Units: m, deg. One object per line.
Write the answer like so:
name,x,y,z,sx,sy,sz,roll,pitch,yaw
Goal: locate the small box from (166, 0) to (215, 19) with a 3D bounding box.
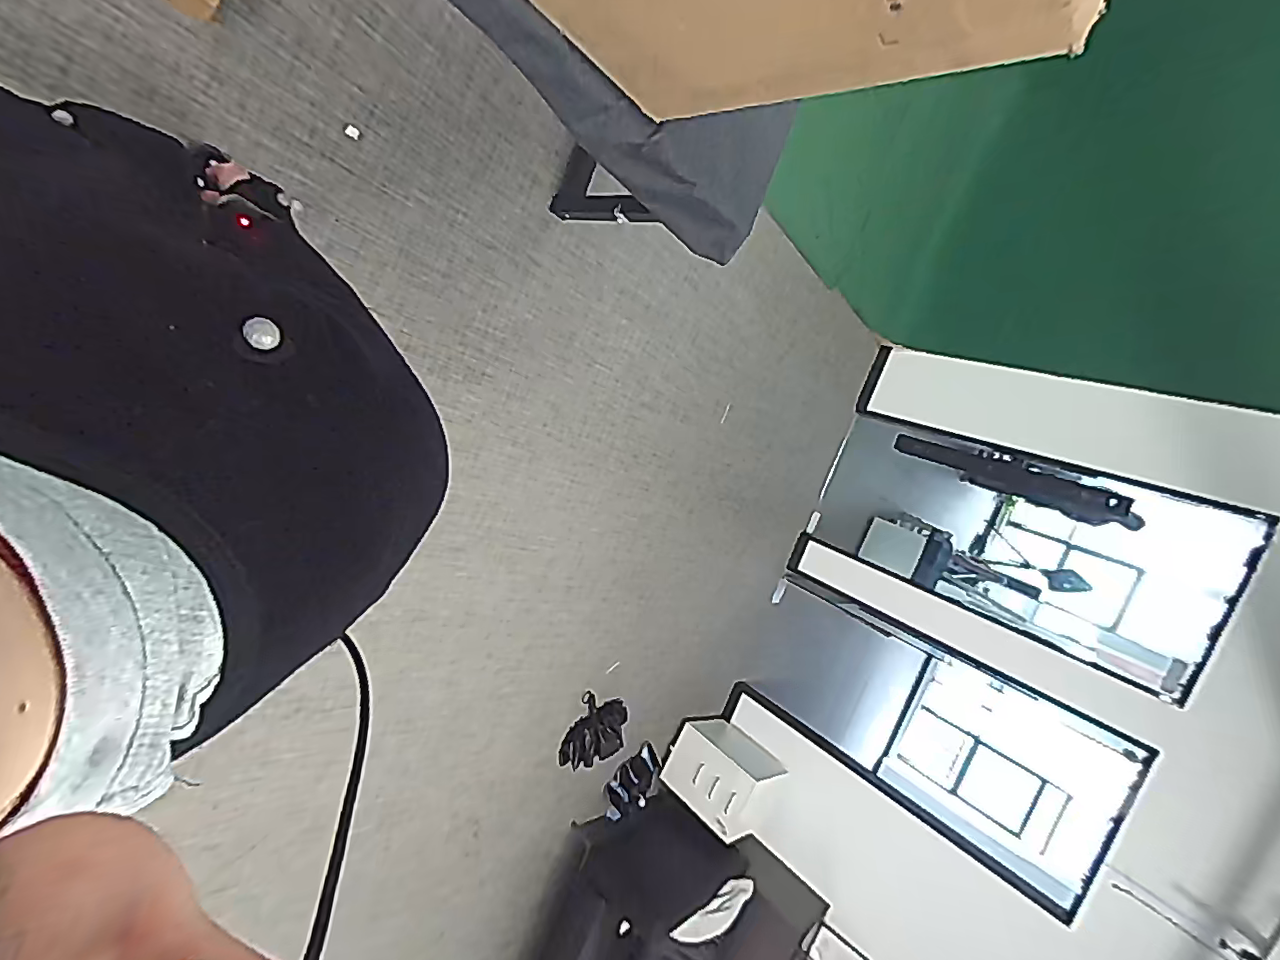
small box,-0.816,-0.958,0.933,0.168,0.176,0.179,21,95,-49
